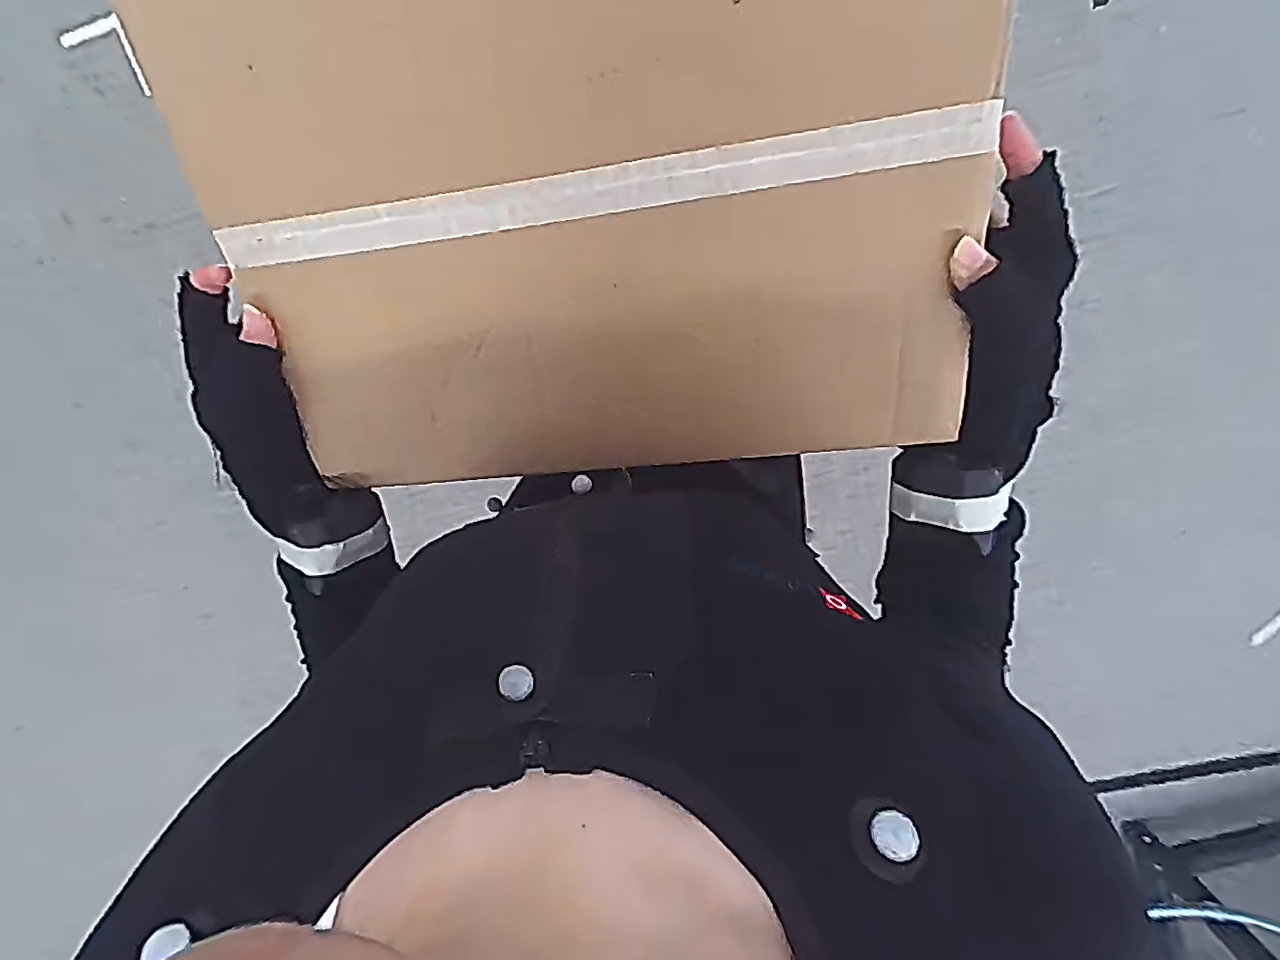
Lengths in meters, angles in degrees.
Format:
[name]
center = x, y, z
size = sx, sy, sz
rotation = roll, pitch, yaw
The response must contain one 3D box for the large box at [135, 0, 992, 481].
[large box]
center = -0.020, -0.219, 0.416
size = 0.408, 0.320, 0.320
rotation = -4, 116, 9
